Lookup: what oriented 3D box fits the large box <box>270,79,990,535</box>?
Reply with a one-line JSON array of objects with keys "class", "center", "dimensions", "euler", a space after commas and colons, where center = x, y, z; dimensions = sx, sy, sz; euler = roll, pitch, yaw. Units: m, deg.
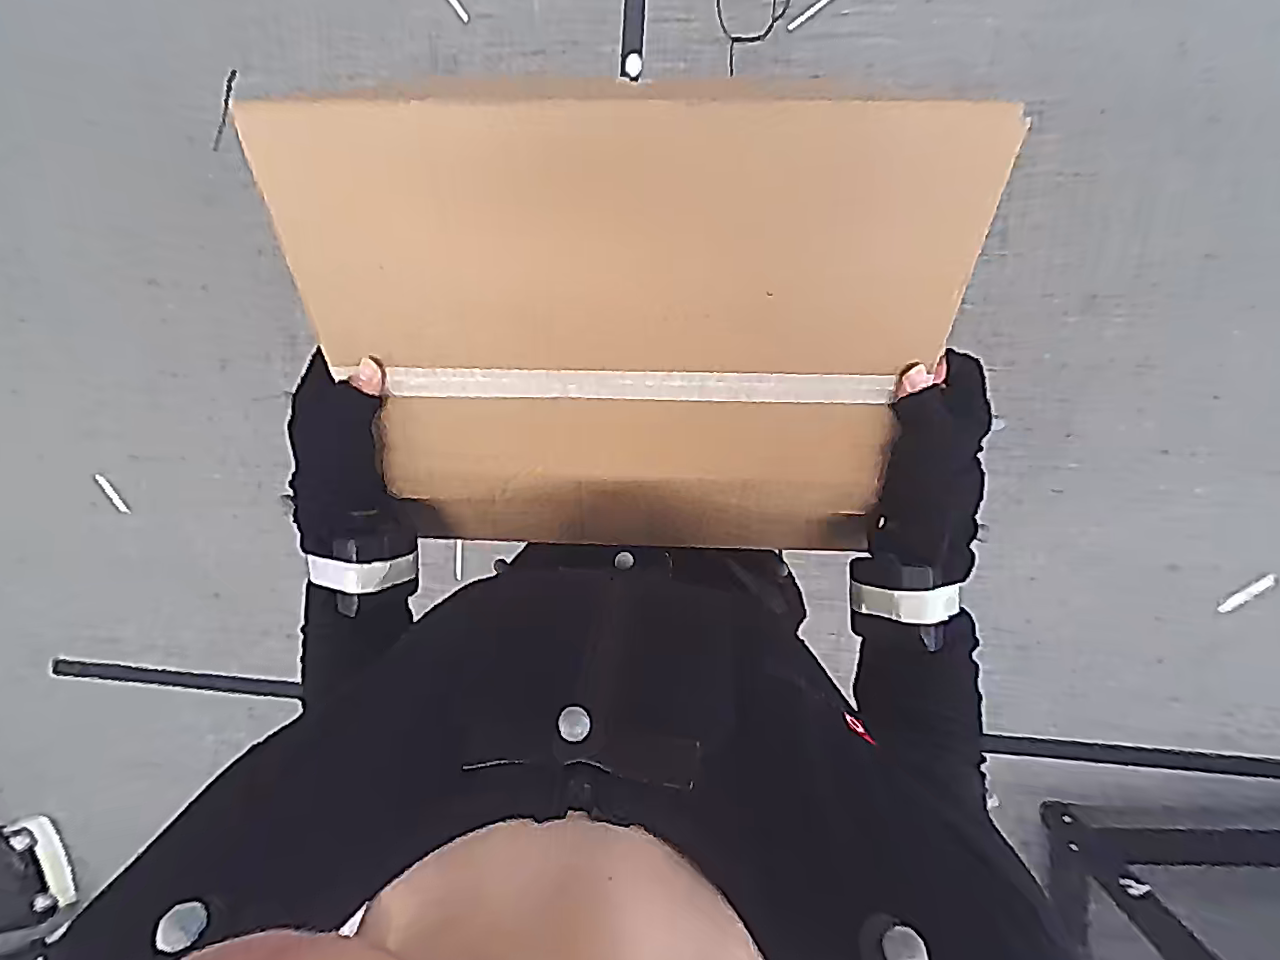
[{"class": "large box", "center": [-0.001, -0.166, 0.500], "dimensions": [0.408, 0.320, 0.320], "euler": [1, 128, 2]}]
